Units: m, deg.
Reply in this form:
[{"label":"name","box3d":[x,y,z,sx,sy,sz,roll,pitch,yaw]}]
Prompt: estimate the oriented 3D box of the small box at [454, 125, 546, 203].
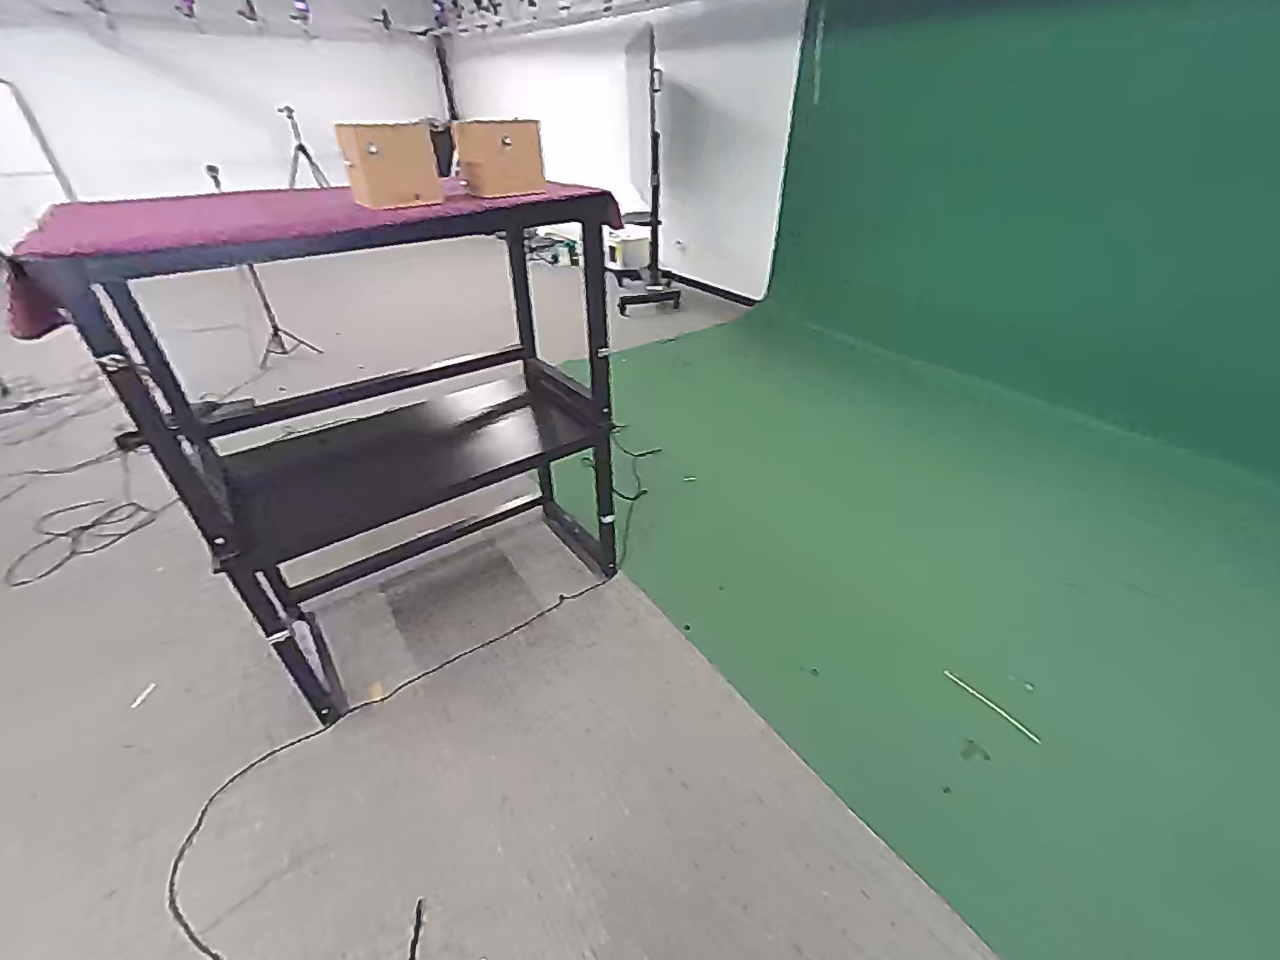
[{"label":"small box","box3d":[-0.369,-0.842,1.438,0.179,0.176,0.168,-23,40,-29]}]
